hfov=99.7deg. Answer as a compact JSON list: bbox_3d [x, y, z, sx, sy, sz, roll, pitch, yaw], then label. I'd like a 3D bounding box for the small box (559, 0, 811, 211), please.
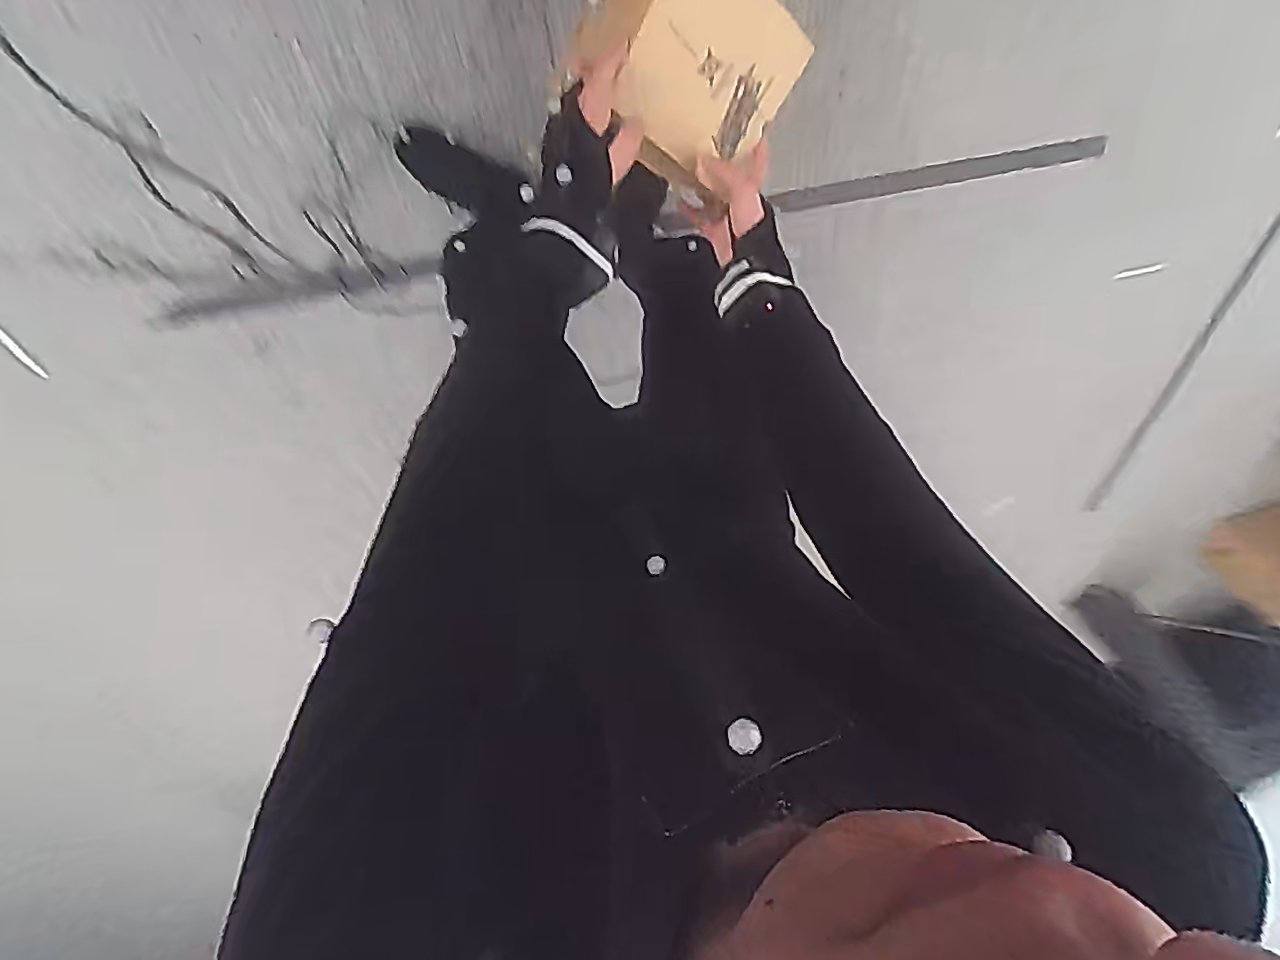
[{"bbox_3d":[0.041,-0.433,0.589,0.179,0.176,0.168,17,115,-38],"label":"small box"}]
